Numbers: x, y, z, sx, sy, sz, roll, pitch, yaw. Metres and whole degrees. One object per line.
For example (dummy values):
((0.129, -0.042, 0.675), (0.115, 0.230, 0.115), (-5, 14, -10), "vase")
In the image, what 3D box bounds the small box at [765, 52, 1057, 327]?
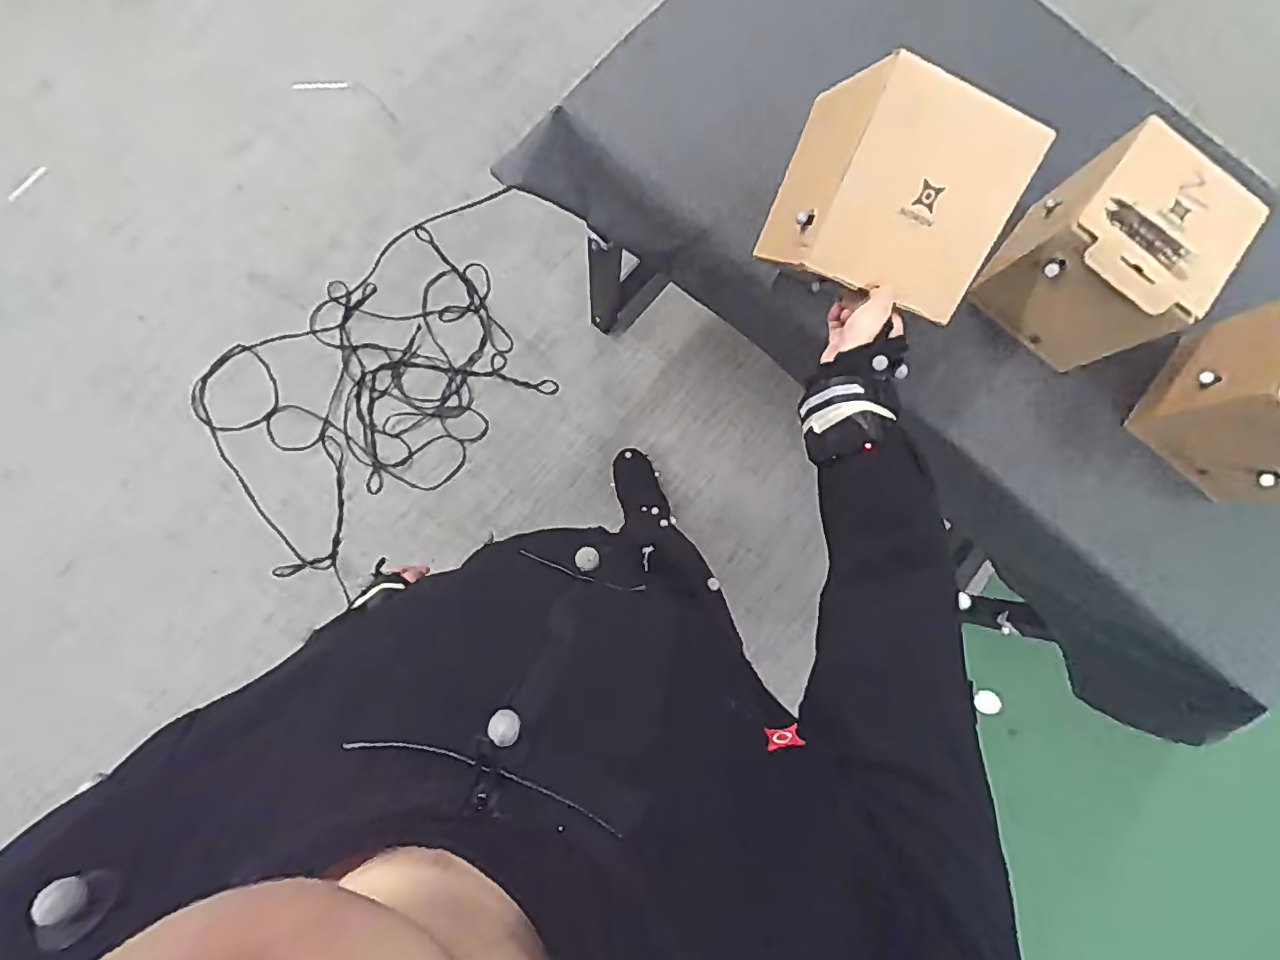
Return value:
((0.250, -0.280, 0.553), (0.168, 0.176, 0.179), (16, 113, -13), "small box")

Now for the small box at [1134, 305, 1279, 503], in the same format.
((0.762, -0.088, 0.649), (0.168, 0.176, 0.179), (40, 81, -1), "small box")
